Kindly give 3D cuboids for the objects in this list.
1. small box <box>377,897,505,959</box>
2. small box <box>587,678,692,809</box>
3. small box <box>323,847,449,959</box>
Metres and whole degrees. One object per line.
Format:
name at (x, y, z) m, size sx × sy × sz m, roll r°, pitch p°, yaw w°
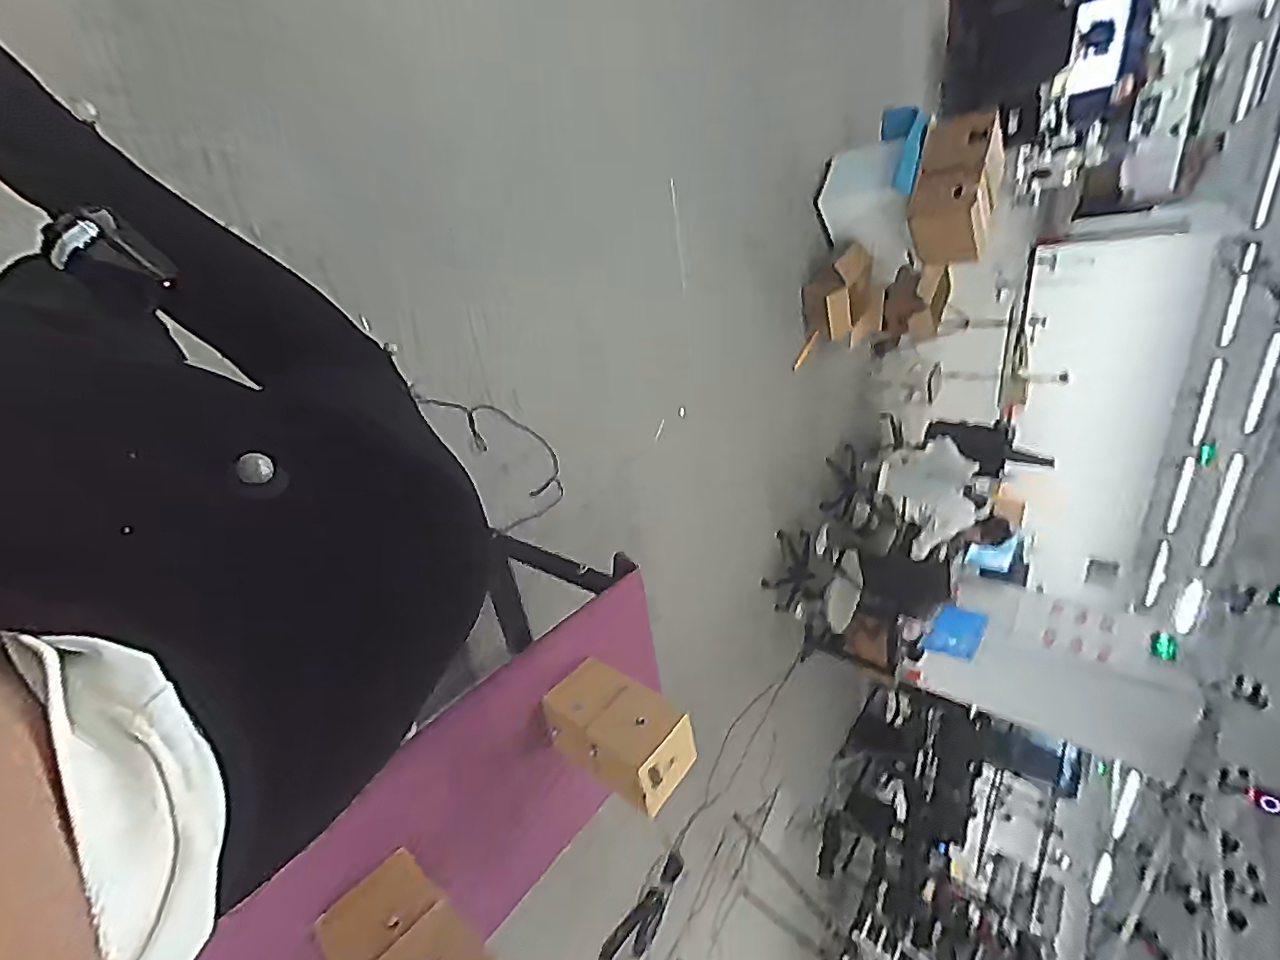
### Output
small box at (-0.339, 0.868, 0.910) m, size 0.179 × 0.176 × 0.168 m, roll -28°, pitch 120°, yaw -46°
small box at (-0.005, 0.599, 1.251) m, size 0.179 × 0.176 × 0.168 m, roll -36°, pitch 126°, yaw -40°
small box at (-0.465, 0.853, 1.015) m, size 0.179 × 0.176 × 0.168 m, roll -29°, pitch 120°, yaw -45°
